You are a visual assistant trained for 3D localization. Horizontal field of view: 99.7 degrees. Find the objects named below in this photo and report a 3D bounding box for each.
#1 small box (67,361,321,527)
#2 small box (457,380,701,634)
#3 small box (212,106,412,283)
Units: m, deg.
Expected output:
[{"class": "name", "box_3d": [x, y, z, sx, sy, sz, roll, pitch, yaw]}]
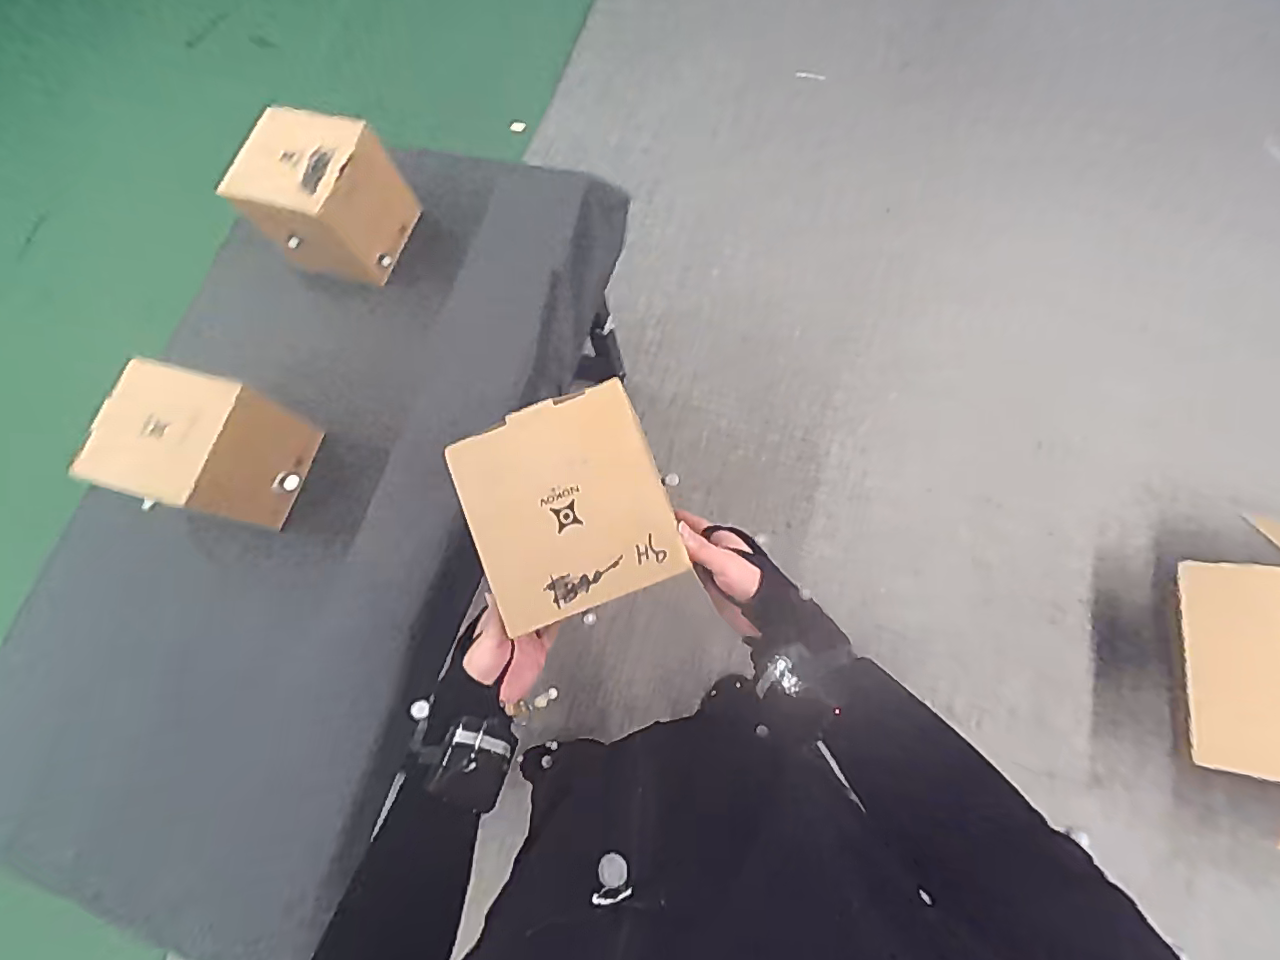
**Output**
[{"class": "small box", "box_3d": [-0.595, -0.040, 0.747, 0.179, 0.176, 0.168, 13, 77, 7]}, {"class": "small box", "box_3d": [-0.048, 0.031, 0.531, 0.168, 0.176, 0.179, -21, 82, 3]}, {"class": "small box", "box_3d": [-0.495, -0.436, 0.849, 0.179, 0.176, 0.168, 16, 76, 10]}]
